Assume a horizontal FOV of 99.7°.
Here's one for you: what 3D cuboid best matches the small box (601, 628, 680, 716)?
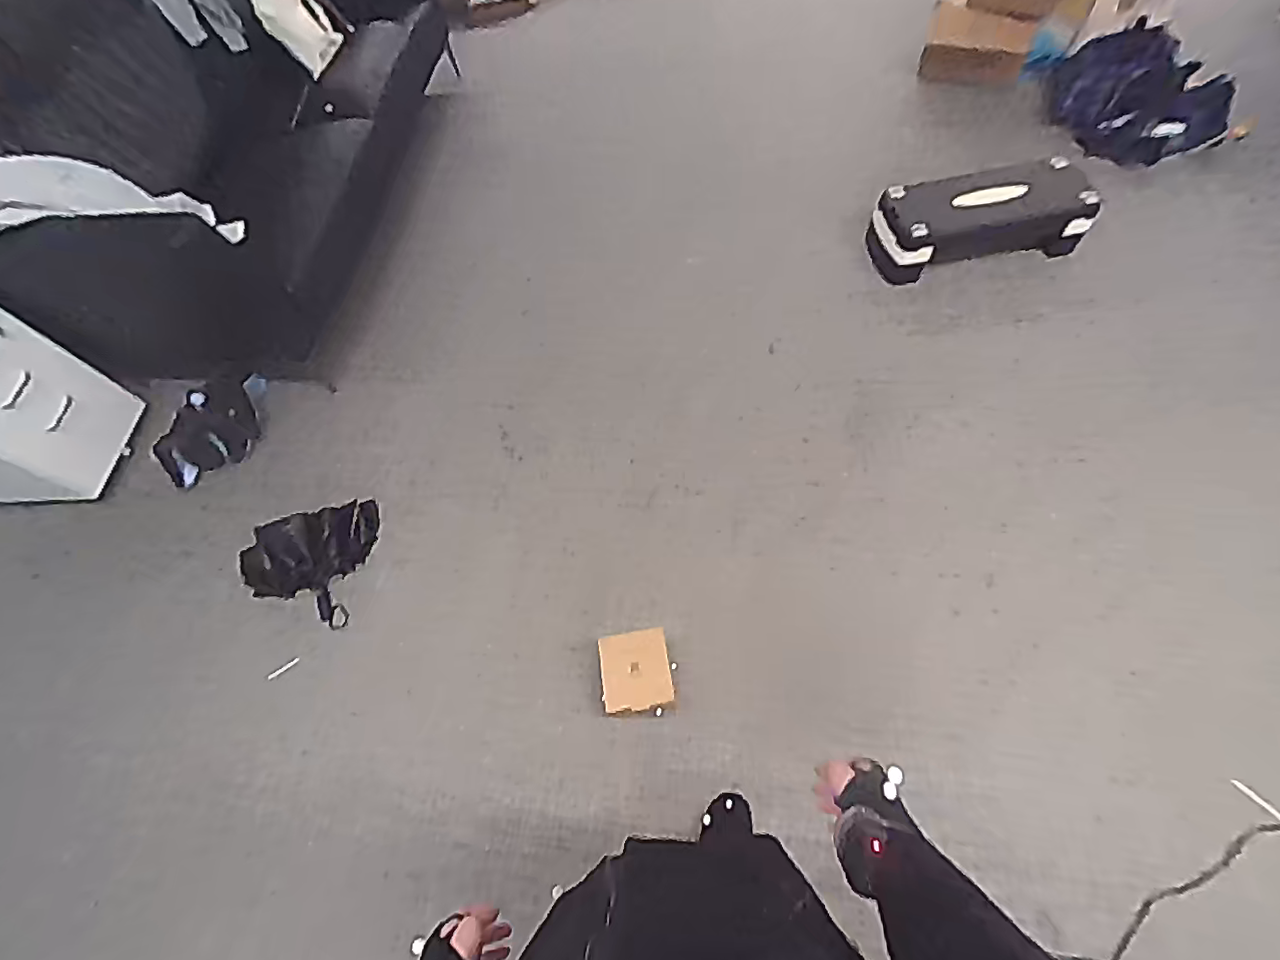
[{"bbox_3d":[0.005,0.489,1.359,0.168,0.176,0.179,-11,60,1],"label":"small box"}]
